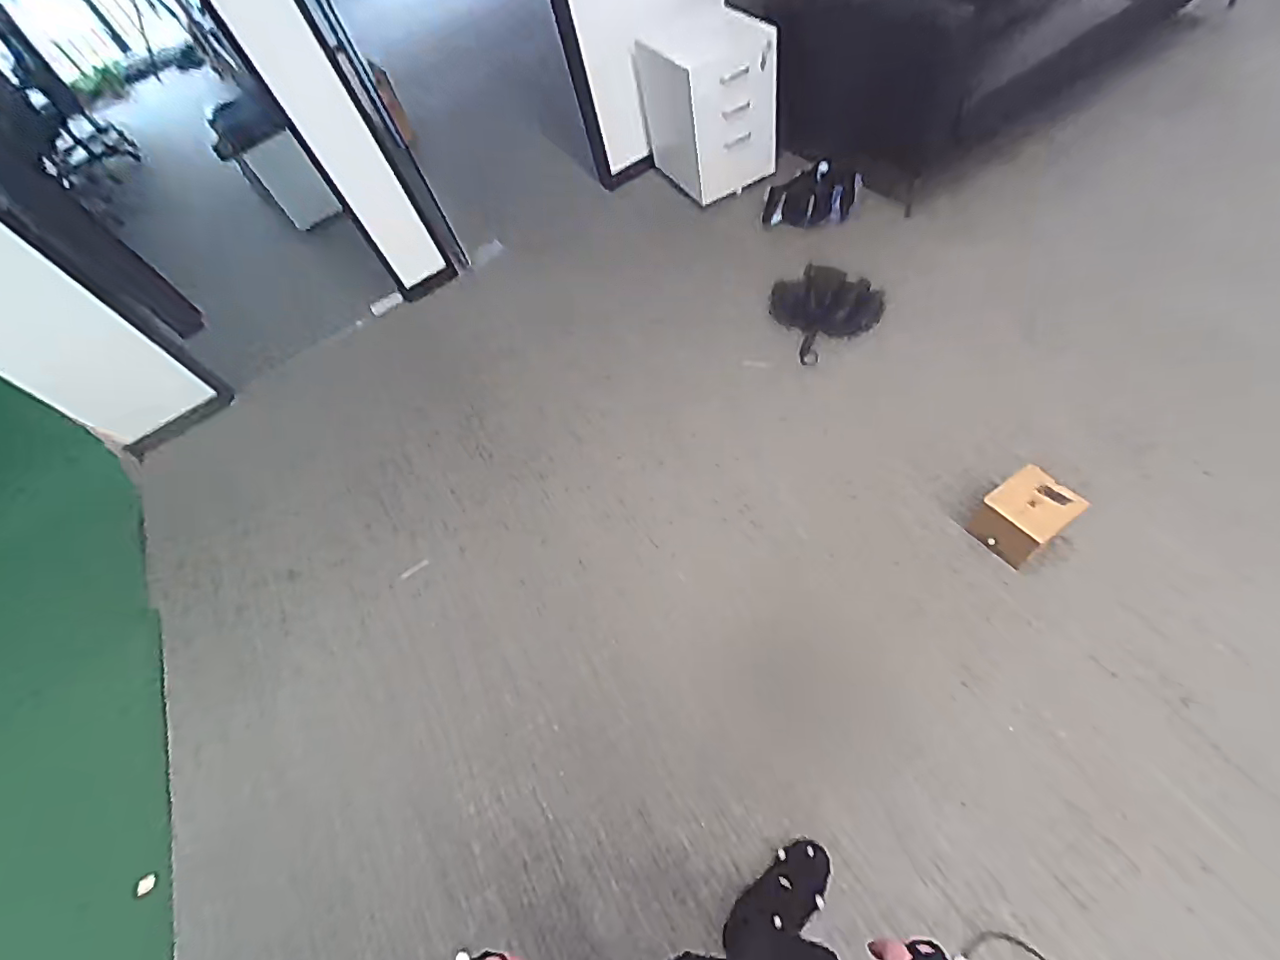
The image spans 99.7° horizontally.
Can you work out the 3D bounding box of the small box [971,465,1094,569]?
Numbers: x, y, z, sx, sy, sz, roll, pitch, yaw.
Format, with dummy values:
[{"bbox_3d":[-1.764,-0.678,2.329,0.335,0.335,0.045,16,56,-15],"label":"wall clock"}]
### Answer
[{"bbox_3d":[1.004,0.099,1.404,0.179,0.176,0.168,-35,57,-8],"label":"small box"}]
